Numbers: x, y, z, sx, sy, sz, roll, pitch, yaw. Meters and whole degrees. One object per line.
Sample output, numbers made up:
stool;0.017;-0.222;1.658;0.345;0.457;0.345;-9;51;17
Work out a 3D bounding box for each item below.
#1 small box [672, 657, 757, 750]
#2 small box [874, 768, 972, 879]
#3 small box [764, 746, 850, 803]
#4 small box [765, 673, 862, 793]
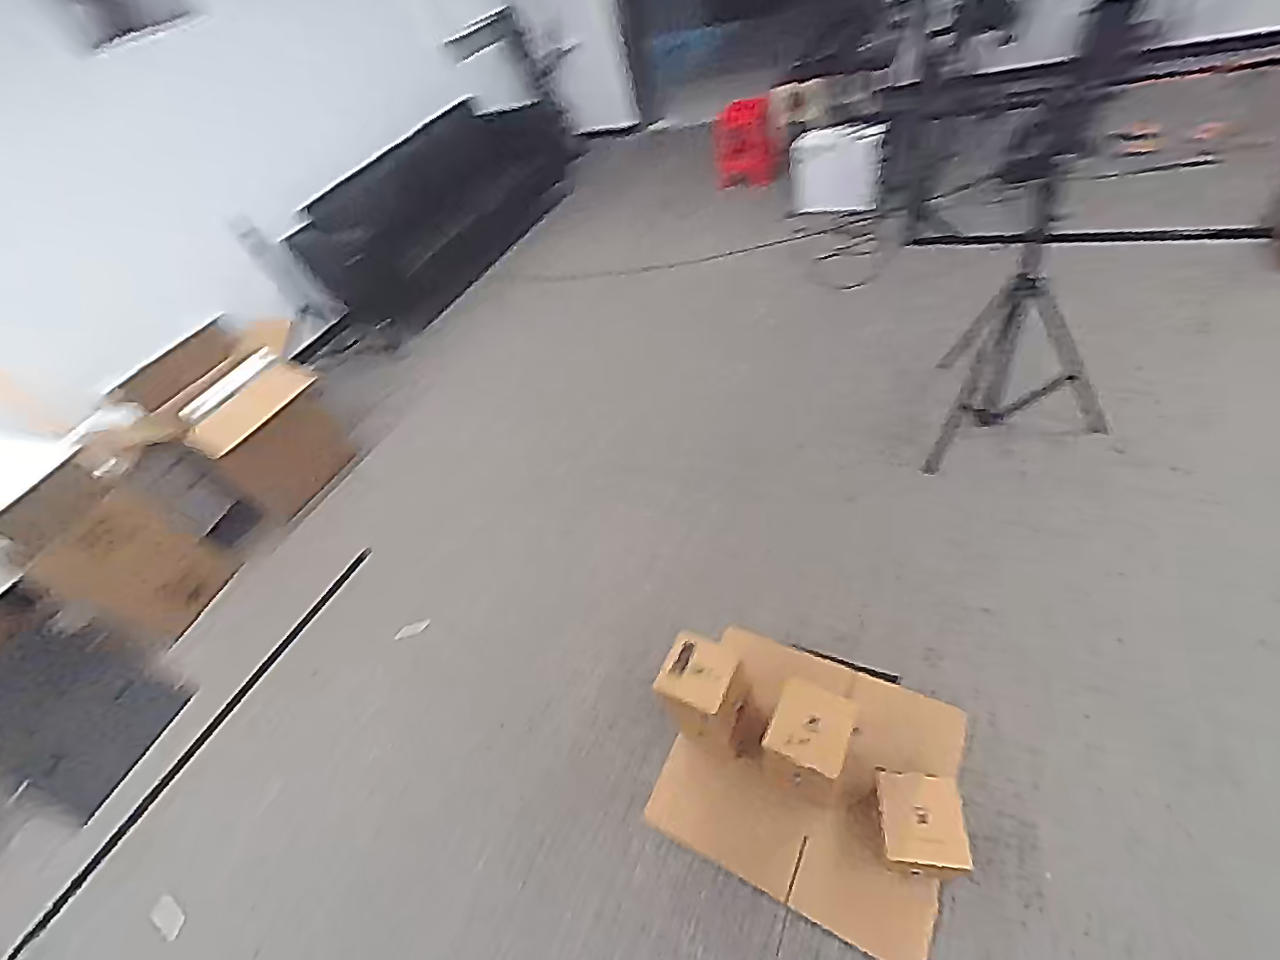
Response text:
small box;0.217;0.634;1.523;0.179;0.176;0.168;13;55;30
small box;0.637;0.788;1.241;0.168;0.176;0.179;-4;47;18
small box;0.437;0.700;1.390;0.179;0.176;0.168;16;56;30
small box;0.406;0.594;1.267;0.168;0.176;0.179;16;57;30
